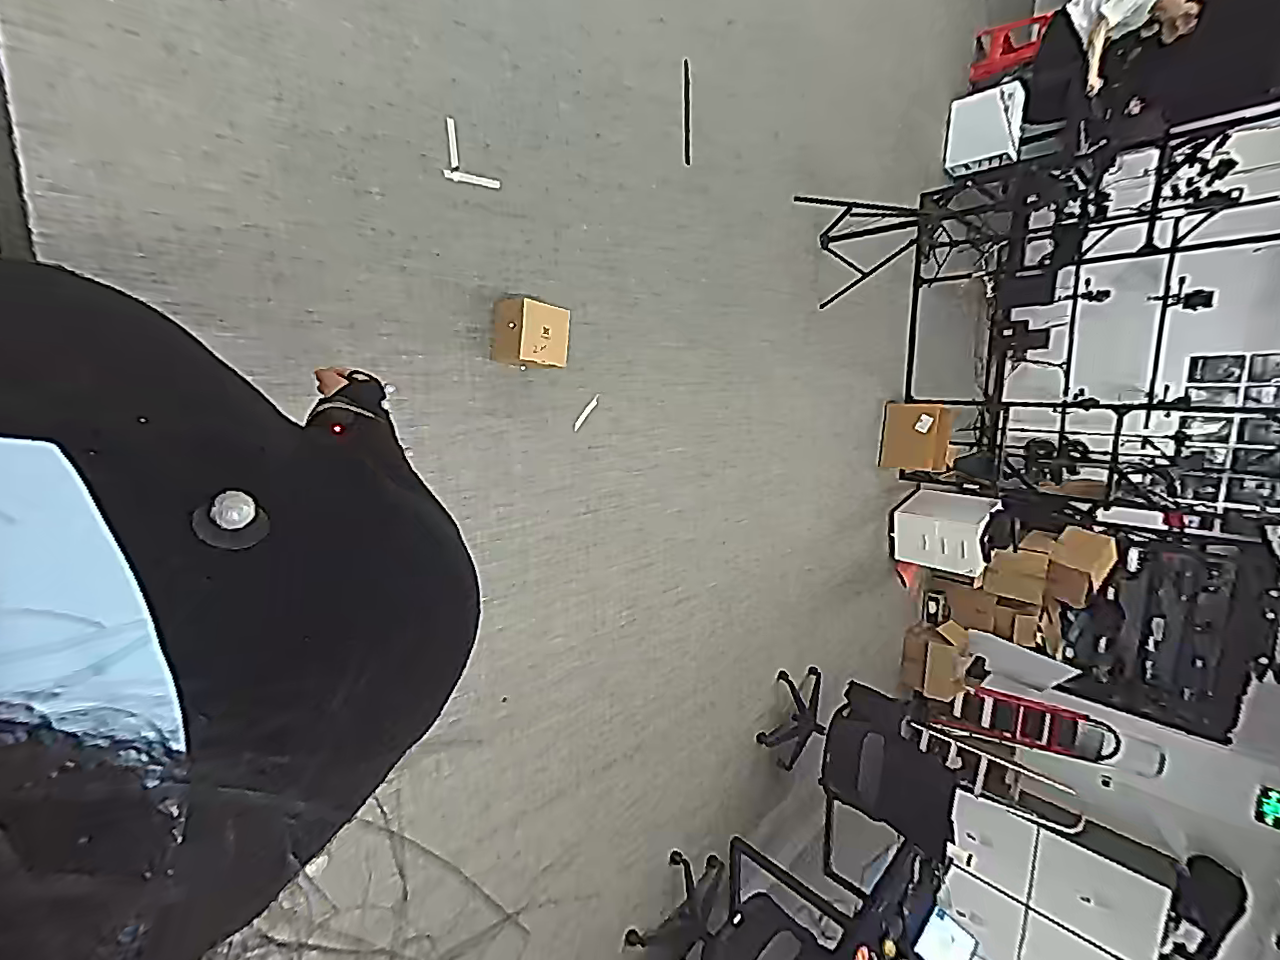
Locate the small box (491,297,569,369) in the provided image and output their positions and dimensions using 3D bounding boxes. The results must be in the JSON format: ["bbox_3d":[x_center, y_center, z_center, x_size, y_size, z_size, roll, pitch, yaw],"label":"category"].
[{"bbox_3d":[-0.338,-0.441,1.649,0.168,0.176,0.179,2,96,-44],"label":"small box"}]
